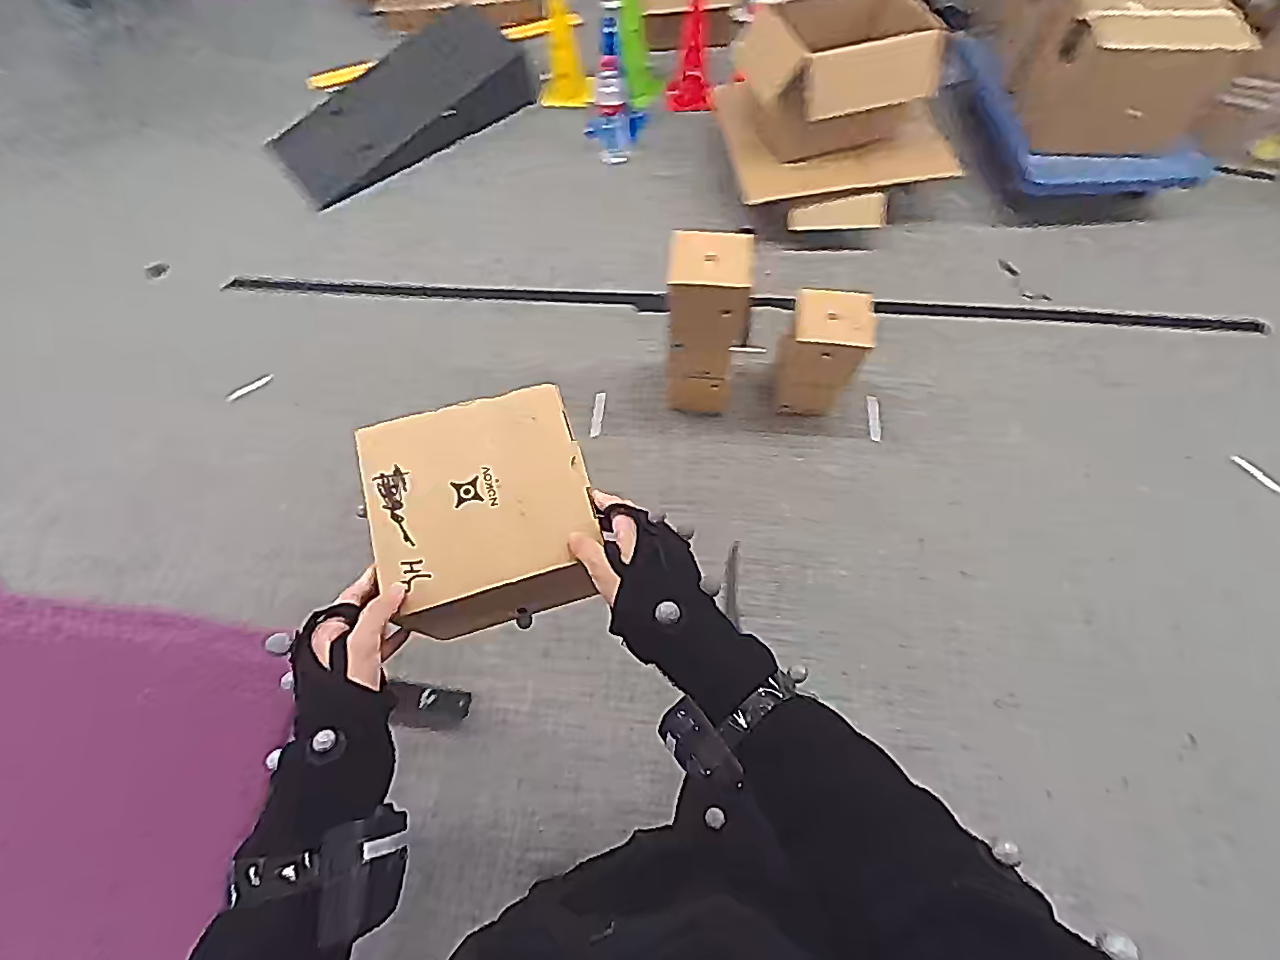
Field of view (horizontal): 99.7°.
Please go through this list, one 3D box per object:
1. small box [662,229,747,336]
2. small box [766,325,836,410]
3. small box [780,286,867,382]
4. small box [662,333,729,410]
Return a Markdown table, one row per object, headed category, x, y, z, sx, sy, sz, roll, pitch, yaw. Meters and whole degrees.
| category | x | y | z | sx | sy | sz | roll | pitch | yaw |
| --- | --- | --- | --- | --- | --- | --- | --- | --- | --- |
| small box | 0.145 | -0.448 | 1.245 | 0.179 | 0.176 | 0.168 | 3 | 64 | 3 |
| small box | 0.458 | -0.315 | 1.536 | 0.168 | 0.176 | 0.179 | 4 | 65 | 2 |
| small box | 0.459 | -0.366 | 1.379 | 0.179 | 0.176 | 0.168 | 6 | 67 | 3 |
| small box | 0.154 | -0.315 | 1.543 | 0.179 | 0.176 | 0.168 | 5 | 66 | 3 |
